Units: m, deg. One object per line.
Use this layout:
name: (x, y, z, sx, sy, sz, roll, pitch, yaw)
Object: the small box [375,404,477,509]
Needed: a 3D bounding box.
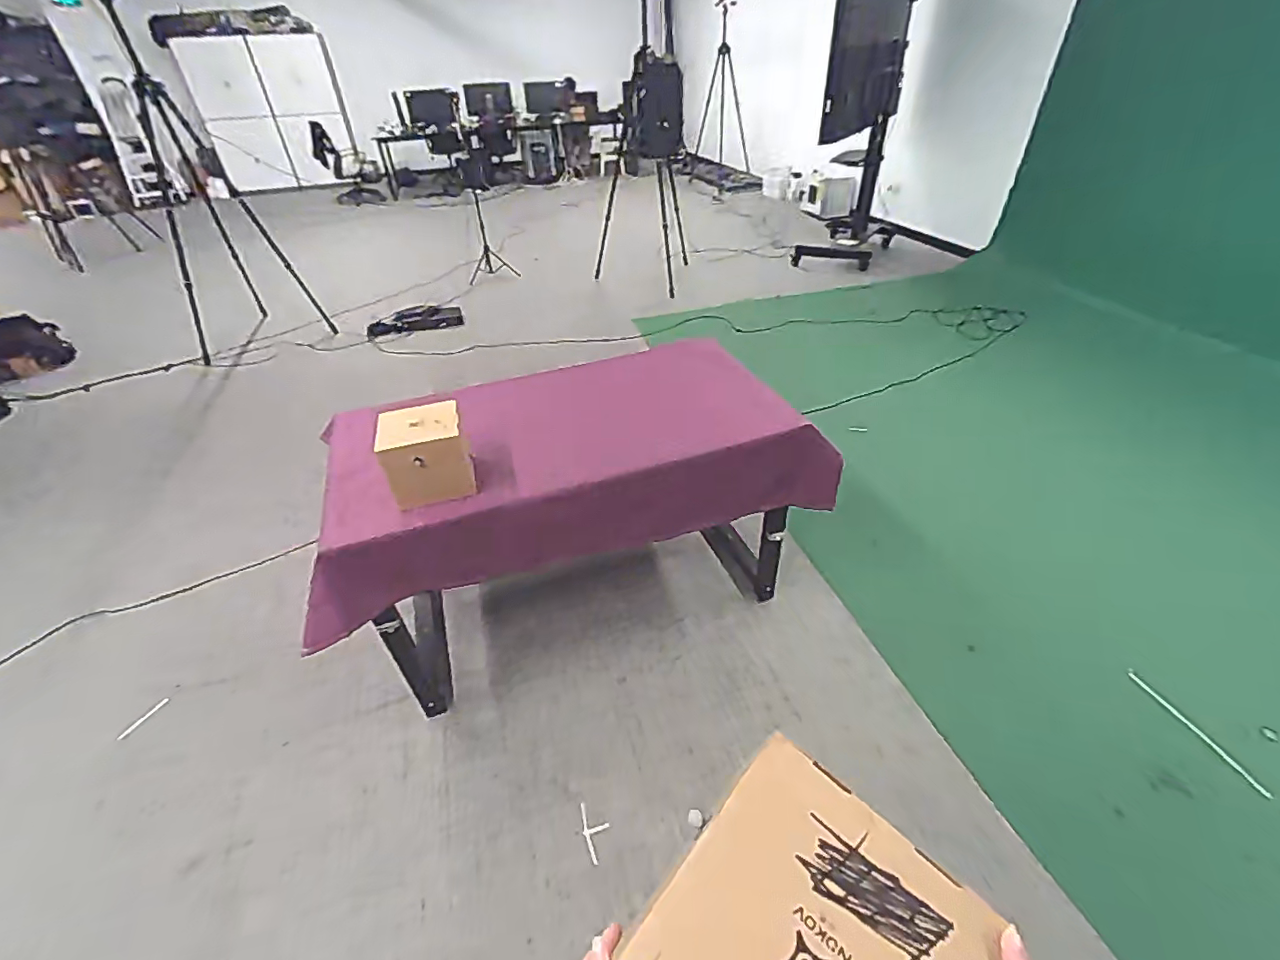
small box: (-0.489, -0.053, 1.254, 0.179, 0.176, 0.168, -13, 39, -12)
